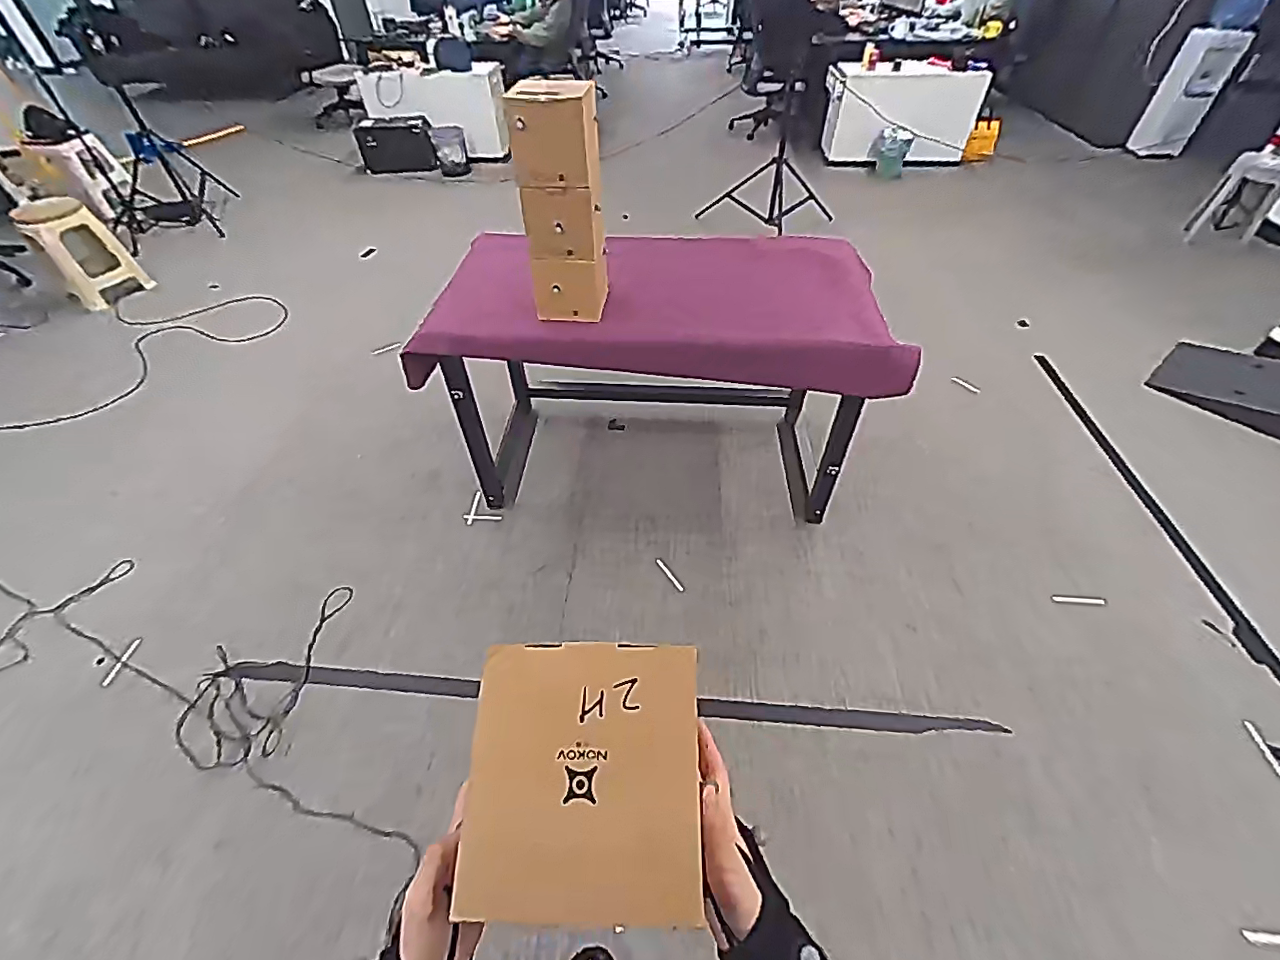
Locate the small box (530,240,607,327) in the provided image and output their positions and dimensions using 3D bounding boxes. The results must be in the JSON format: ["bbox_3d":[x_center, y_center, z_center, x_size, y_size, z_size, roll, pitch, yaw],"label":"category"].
[{"bbox_3d":[-0.182,-0.524,1.443,0.168,0.176,0.179,3,46,4],"label":"small box"}]

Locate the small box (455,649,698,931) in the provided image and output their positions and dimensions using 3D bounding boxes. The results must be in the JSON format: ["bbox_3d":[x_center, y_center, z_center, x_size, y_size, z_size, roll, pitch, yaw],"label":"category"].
[{"bbox_3d":[-0.035,0.247,0.458,0.168,0.176,0.179,-1,62,3],"label":"small box"}]

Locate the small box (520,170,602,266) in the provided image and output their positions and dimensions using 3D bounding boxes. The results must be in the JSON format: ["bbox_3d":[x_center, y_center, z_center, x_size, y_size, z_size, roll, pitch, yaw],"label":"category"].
[{"bbox_3d":[-0.185,-0.641,1.328,0.168,0.176,0.179,2,47,2],"label":"small box"}]
